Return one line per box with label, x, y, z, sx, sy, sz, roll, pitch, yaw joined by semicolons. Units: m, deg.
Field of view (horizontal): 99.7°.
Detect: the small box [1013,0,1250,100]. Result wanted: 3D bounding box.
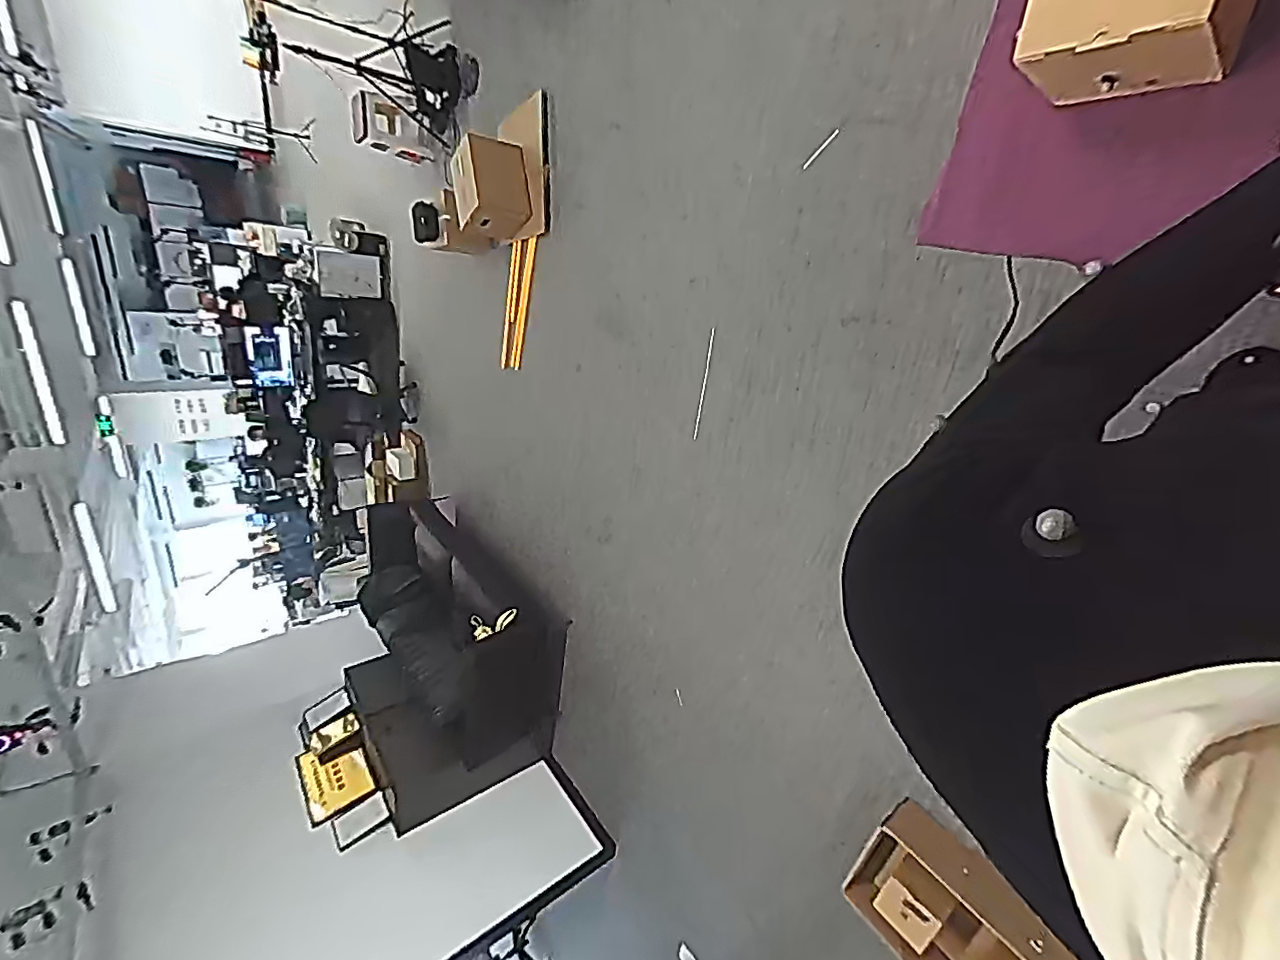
small box;0.545;-0.547;0.582;0.168;0.176;0.179;26;118;46
